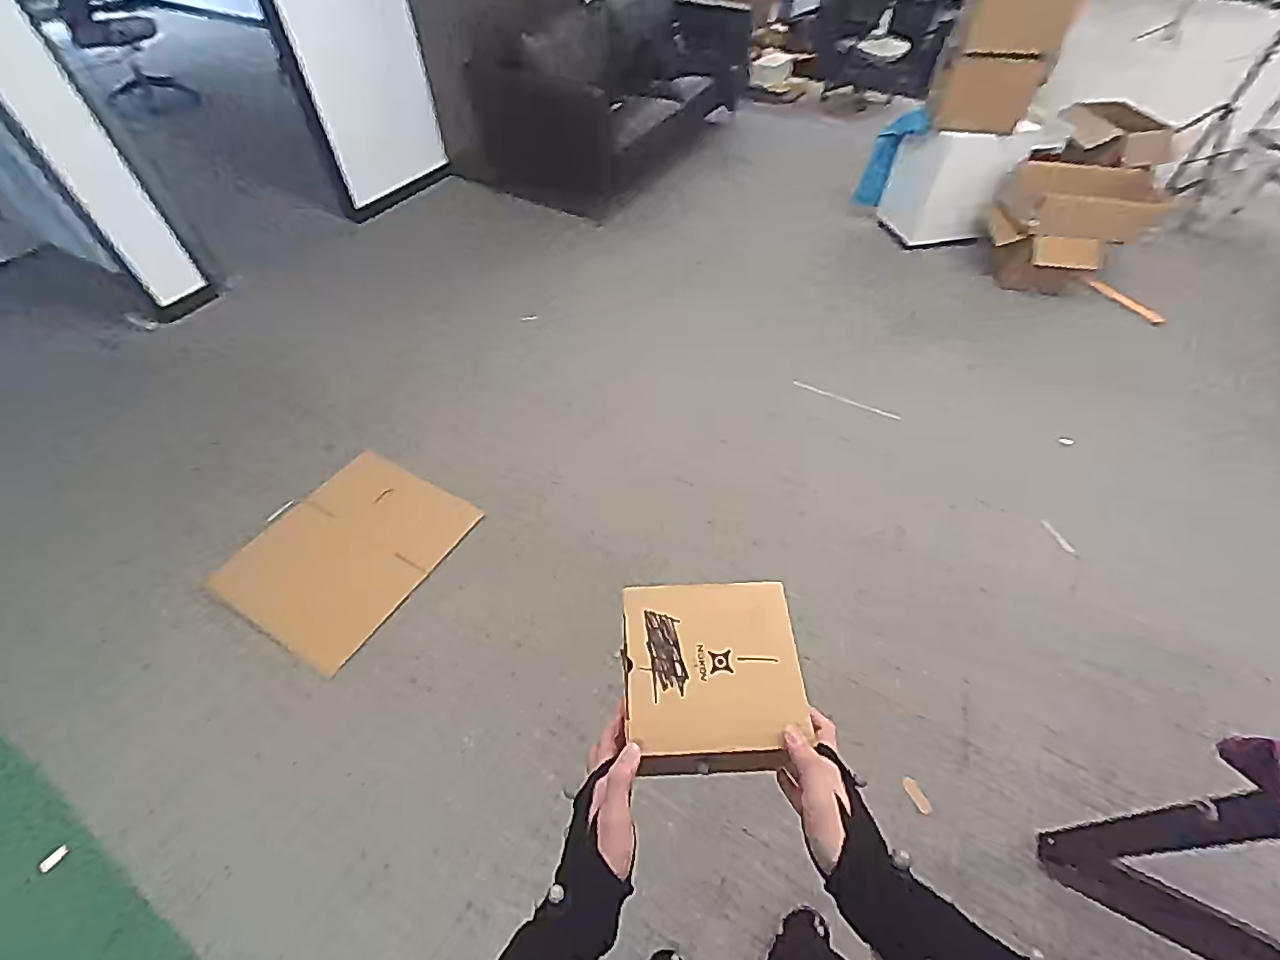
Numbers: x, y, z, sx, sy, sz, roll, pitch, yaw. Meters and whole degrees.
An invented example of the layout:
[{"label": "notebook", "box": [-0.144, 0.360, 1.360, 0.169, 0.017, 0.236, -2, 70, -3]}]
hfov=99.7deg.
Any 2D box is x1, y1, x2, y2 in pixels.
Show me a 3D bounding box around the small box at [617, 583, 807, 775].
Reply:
[{"label": "small box", "box": [0.066, 0.228, 0.609, 0.179, 0.176, 0.168, -2, 56, -3]}]
